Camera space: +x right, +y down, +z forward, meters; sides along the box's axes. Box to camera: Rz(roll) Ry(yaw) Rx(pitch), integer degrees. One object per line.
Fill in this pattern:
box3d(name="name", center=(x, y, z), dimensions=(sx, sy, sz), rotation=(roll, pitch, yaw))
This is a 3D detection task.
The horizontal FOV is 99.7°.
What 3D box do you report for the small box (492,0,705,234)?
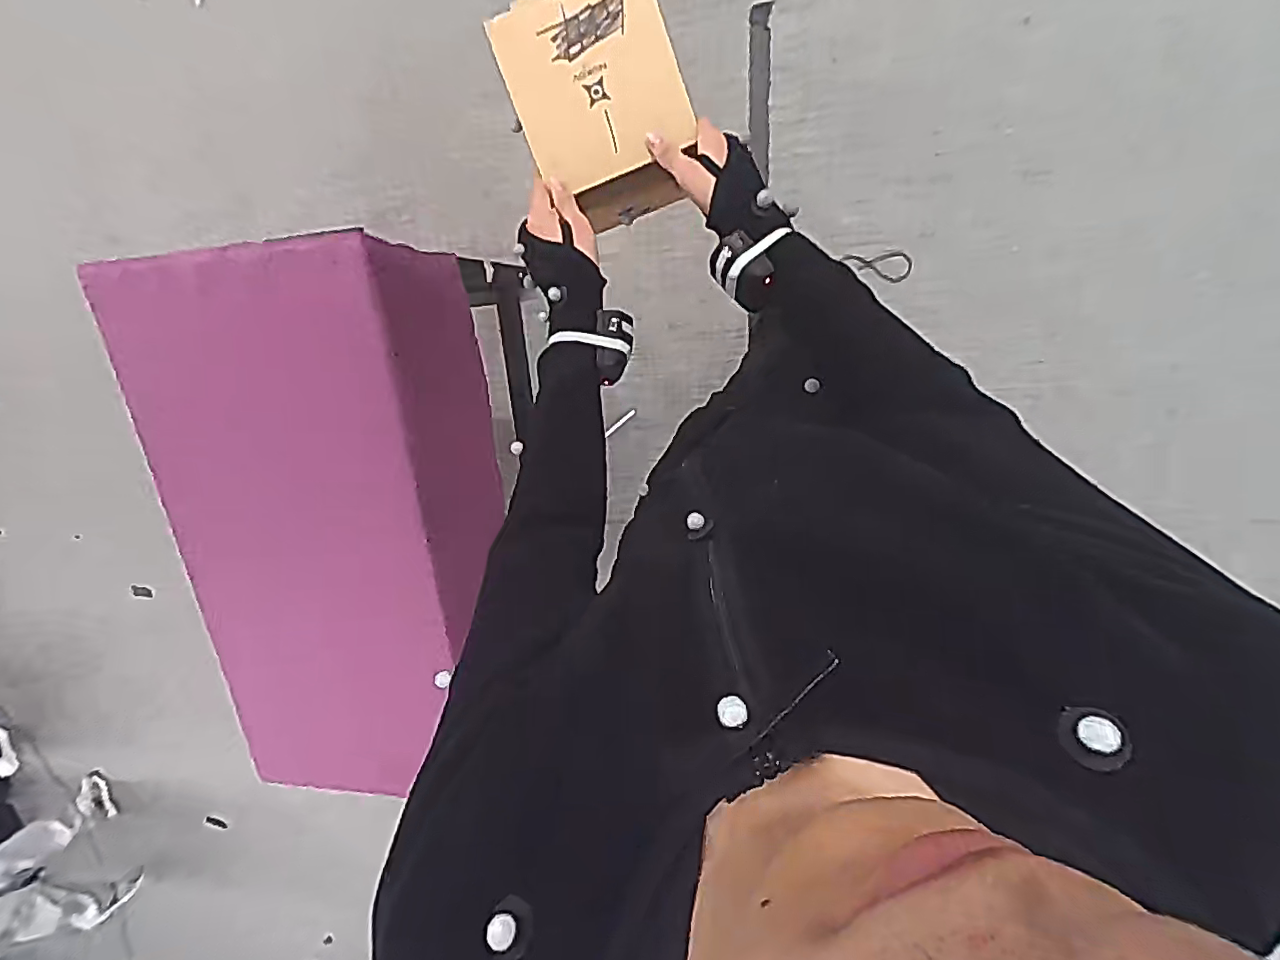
box3d(name="small box", center=(-0.041, -0.412, 0.611), dimensions=(0.168, 0.176, 0.179), rotation=(-21, 100, 4))
